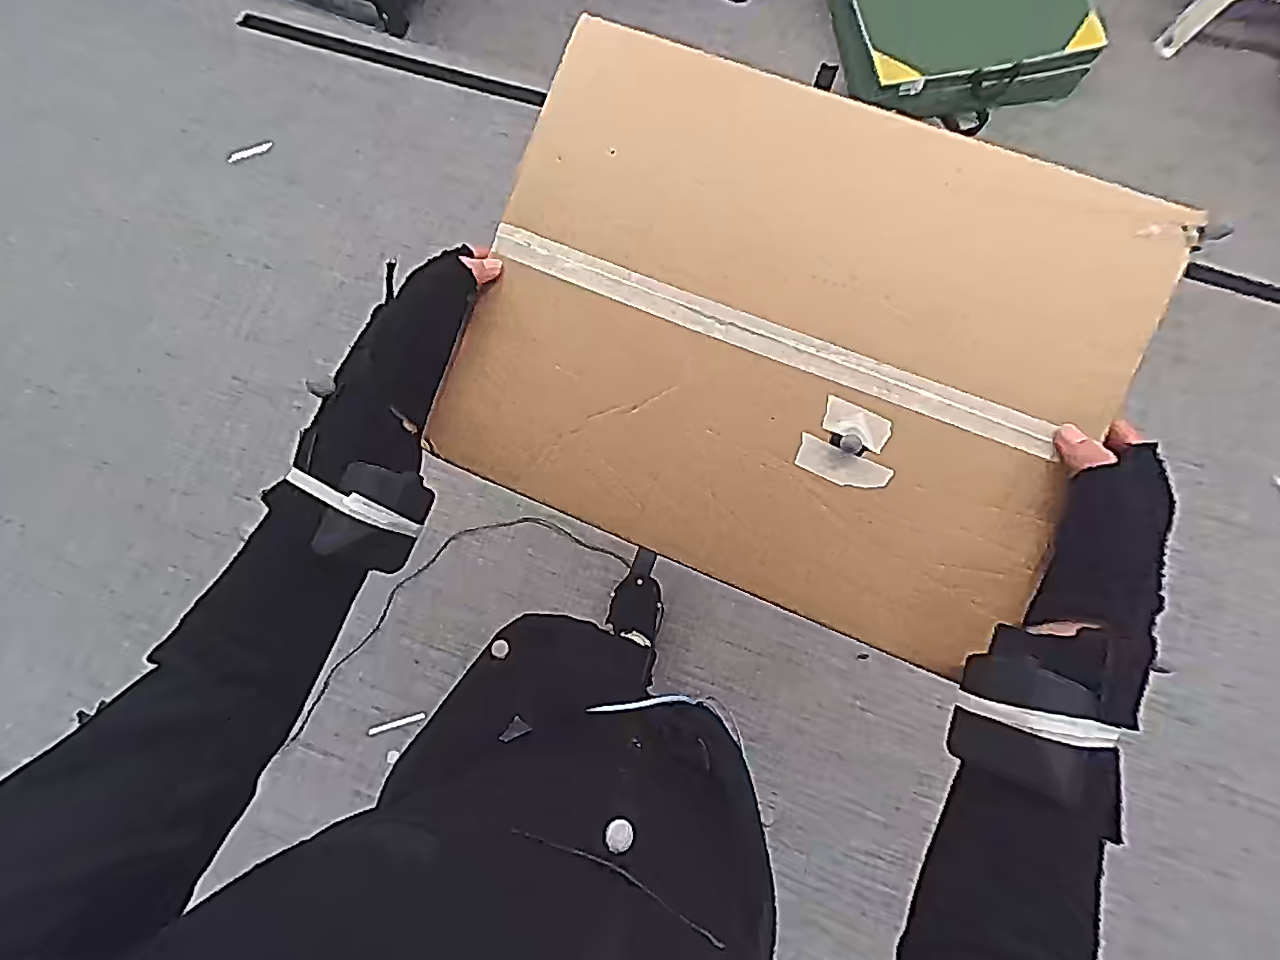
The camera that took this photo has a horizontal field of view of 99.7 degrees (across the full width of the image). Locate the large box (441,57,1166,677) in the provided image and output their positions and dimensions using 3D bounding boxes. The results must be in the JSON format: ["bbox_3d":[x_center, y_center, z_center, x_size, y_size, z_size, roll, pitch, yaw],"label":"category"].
[{"bbox_3d":[0.106,-0.084,0.510,0.408,0.320,0.320,22,94,5],"label":"large box"}]
